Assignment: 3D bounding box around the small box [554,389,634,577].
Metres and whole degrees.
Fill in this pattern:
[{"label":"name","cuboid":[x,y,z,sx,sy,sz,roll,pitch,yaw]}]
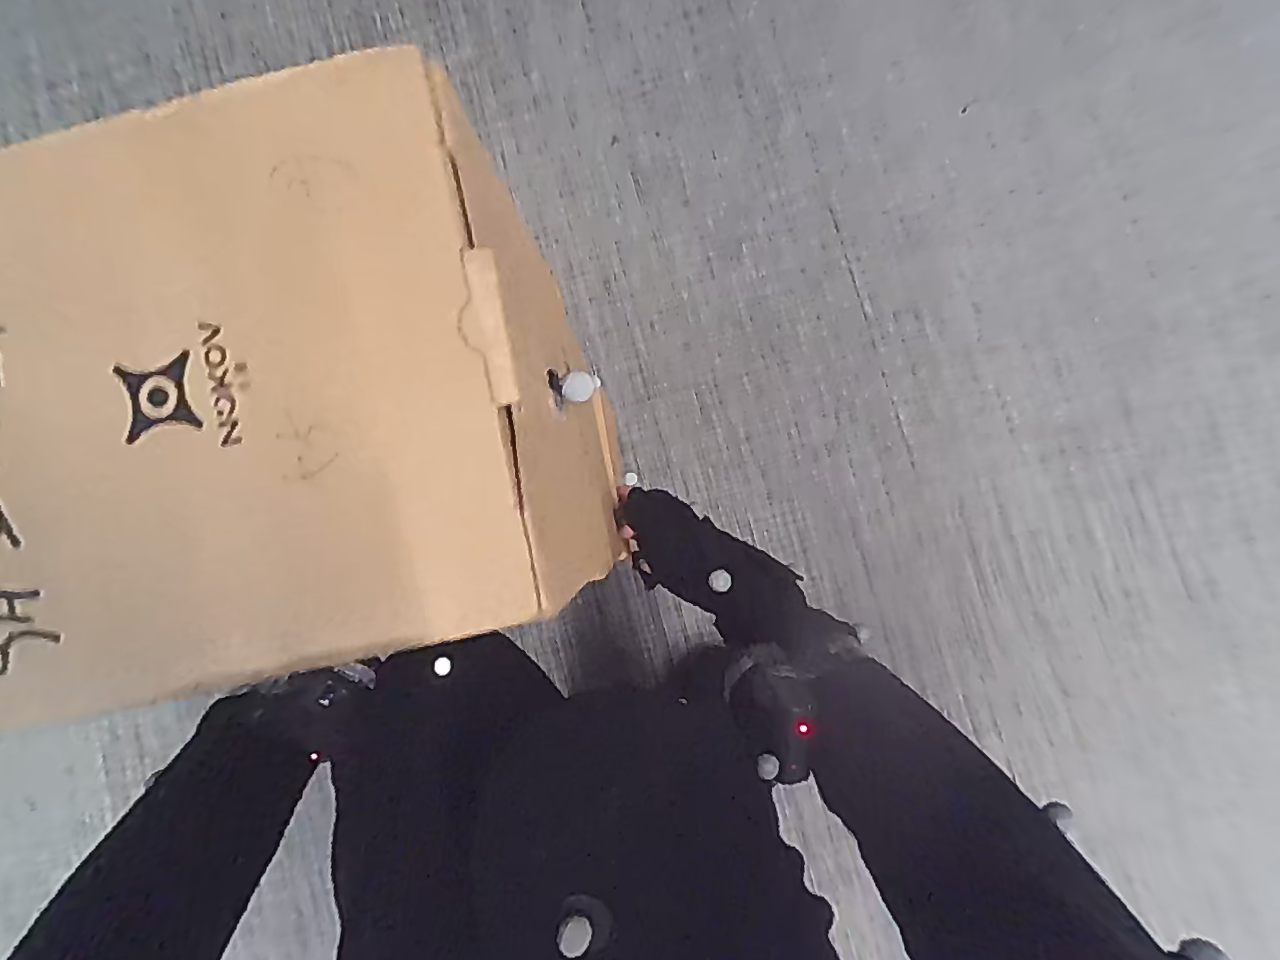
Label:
[{"label":"small box","cuboid":[-0.108,0.016,0.560,0.179,0.176,0.168,-10,87,2]}]
